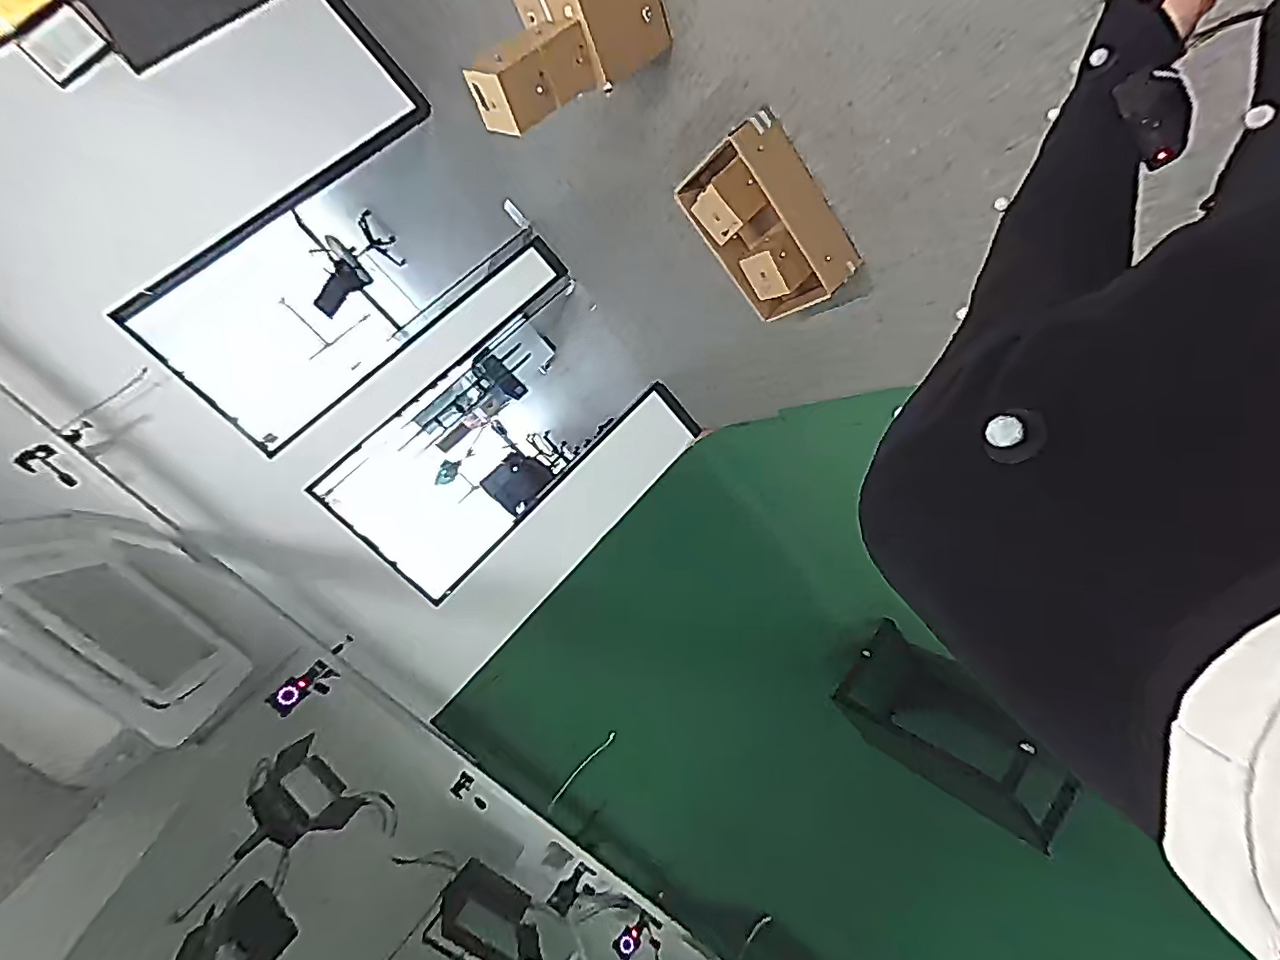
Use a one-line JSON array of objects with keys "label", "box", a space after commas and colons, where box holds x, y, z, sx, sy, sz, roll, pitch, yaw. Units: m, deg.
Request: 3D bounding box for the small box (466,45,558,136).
[{"label": "small box", "box": [-0.382, -1.176, 1.630, 0.179, 0.176, 0.168, 32, 161, 31]}]

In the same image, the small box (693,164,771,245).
[{"label": "small box", "box": [0.328, -0.991, 1.931, 0.179, 0.176, 0.168, 47, 164, -12]}]
